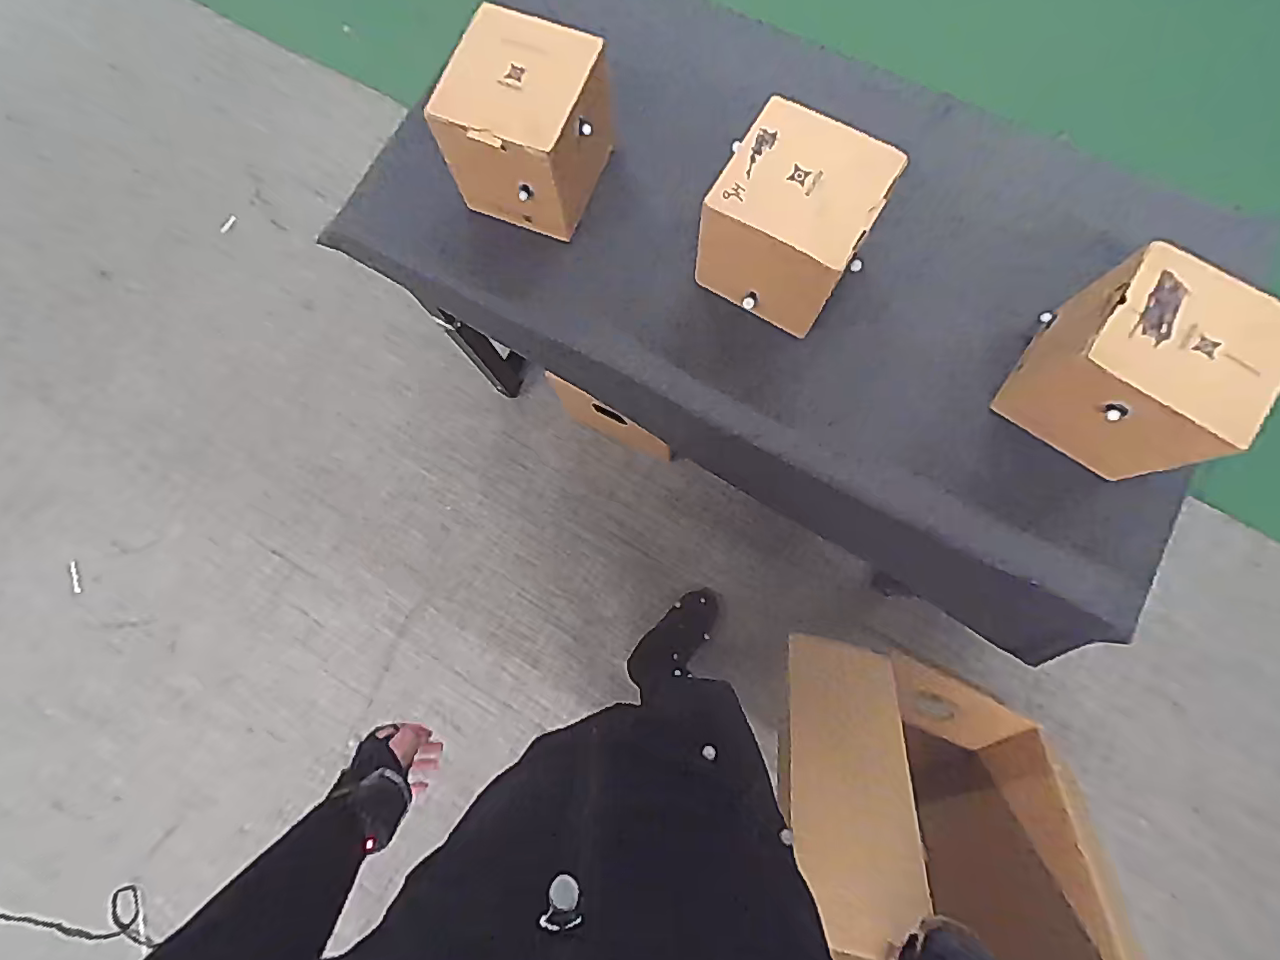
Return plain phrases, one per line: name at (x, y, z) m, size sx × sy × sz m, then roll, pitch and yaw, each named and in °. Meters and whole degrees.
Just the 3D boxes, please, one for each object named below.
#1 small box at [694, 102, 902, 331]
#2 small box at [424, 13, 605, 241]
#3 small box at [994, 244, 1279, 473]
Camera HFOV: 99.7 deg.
small box at (0.185, -0.316, 0.688) m, size 0.179 × 0.176 × 0.168 m, roll 31°, pitch 82°, yaw 7°
small box at (-0.152, -0.462, 0.732) m, size 0.168 × 0.176 × 0.179 m, roll 21°, pitch 79°, yaw 5°
small box at (0.568, -0.126, 0.632) m, size 0.179 × 0.176 × 0.168 m, roll 35°, pitch 83°, yaw 8°
